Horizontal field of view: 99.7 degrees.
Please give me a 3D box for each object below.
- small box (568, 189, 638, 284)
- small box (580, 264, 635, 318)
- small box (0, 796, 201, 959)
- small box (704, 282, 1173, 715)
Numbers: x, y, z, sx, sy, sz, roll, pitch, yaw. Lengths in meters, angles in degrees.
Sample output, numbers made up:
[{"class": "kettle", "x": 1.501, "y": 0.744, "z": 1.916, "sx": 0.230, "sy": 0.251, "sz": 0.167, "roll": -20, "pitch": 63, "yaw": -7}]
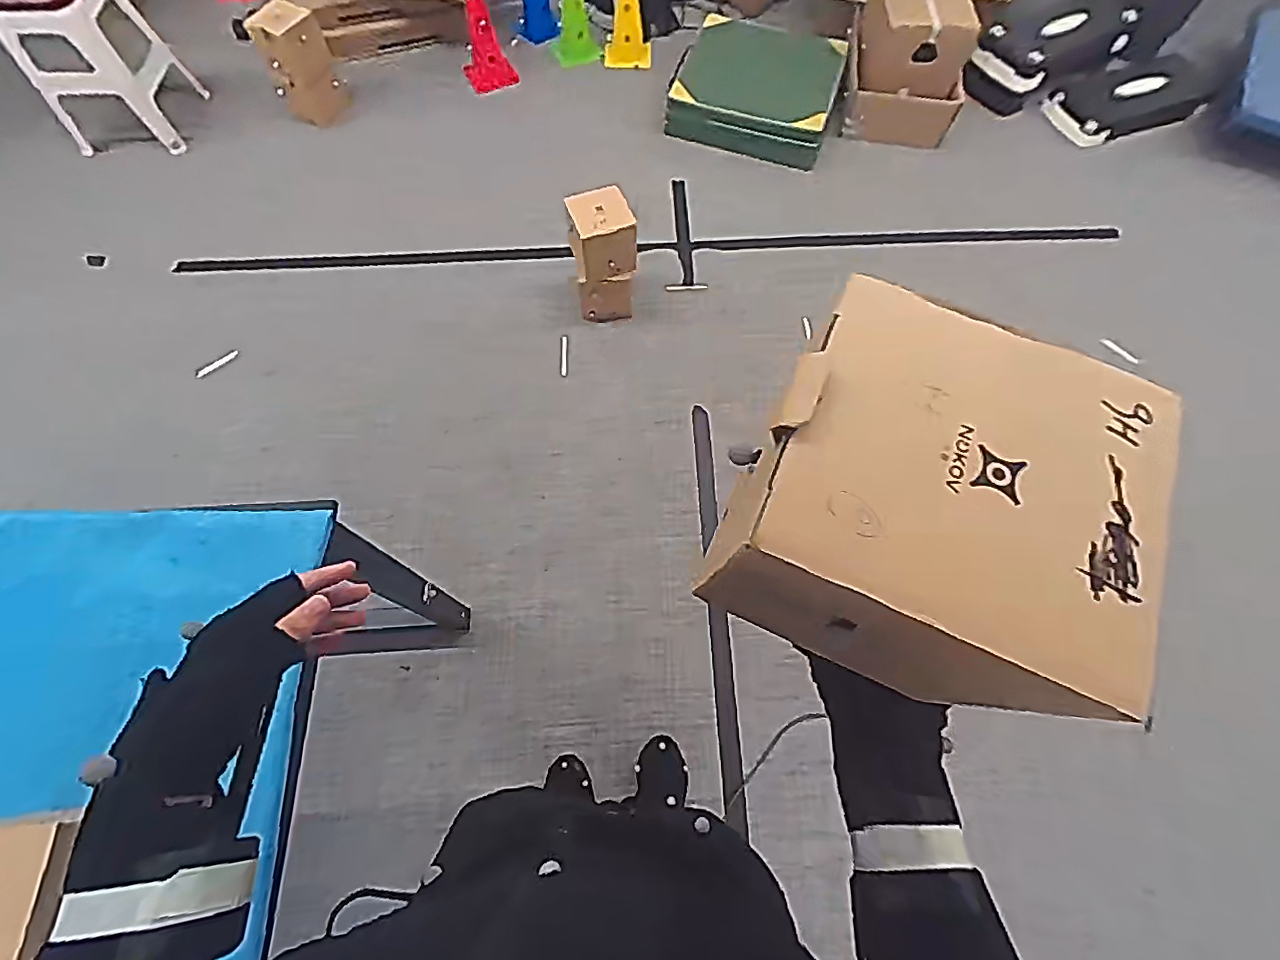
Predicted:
[{"class": "small box", "x": -0.108, "y": -0.720, "z": 1.607, "sx": 0.168, "sy": 0.176, "sz": 0.179, "roll": -16, "pitch": 69, "yaw": -6}, {"class": "small box", "x": -0.103, "y": -0.643, "z": 1.753, "sx": 0.168, "sy": 0.176, "sz": 0.179, "roll": -4, "pitch": 65, "yaw": -2}, {"class": "small box", "x": -0.556, "y": 0.405, "z": 0.495, "sx": 0.168, "sy": 0.176, "sz": 0.179, "roll": -3, "pitch": 66, "yaw": -2}, {"class": "small box", "x": 0.152, "y": 0.023, "z": 0.326, "sx": 0.179, "sy": 0.176, "sz": 0.168, "roll": 22, "pitch": 71, "yaw": 5}]
